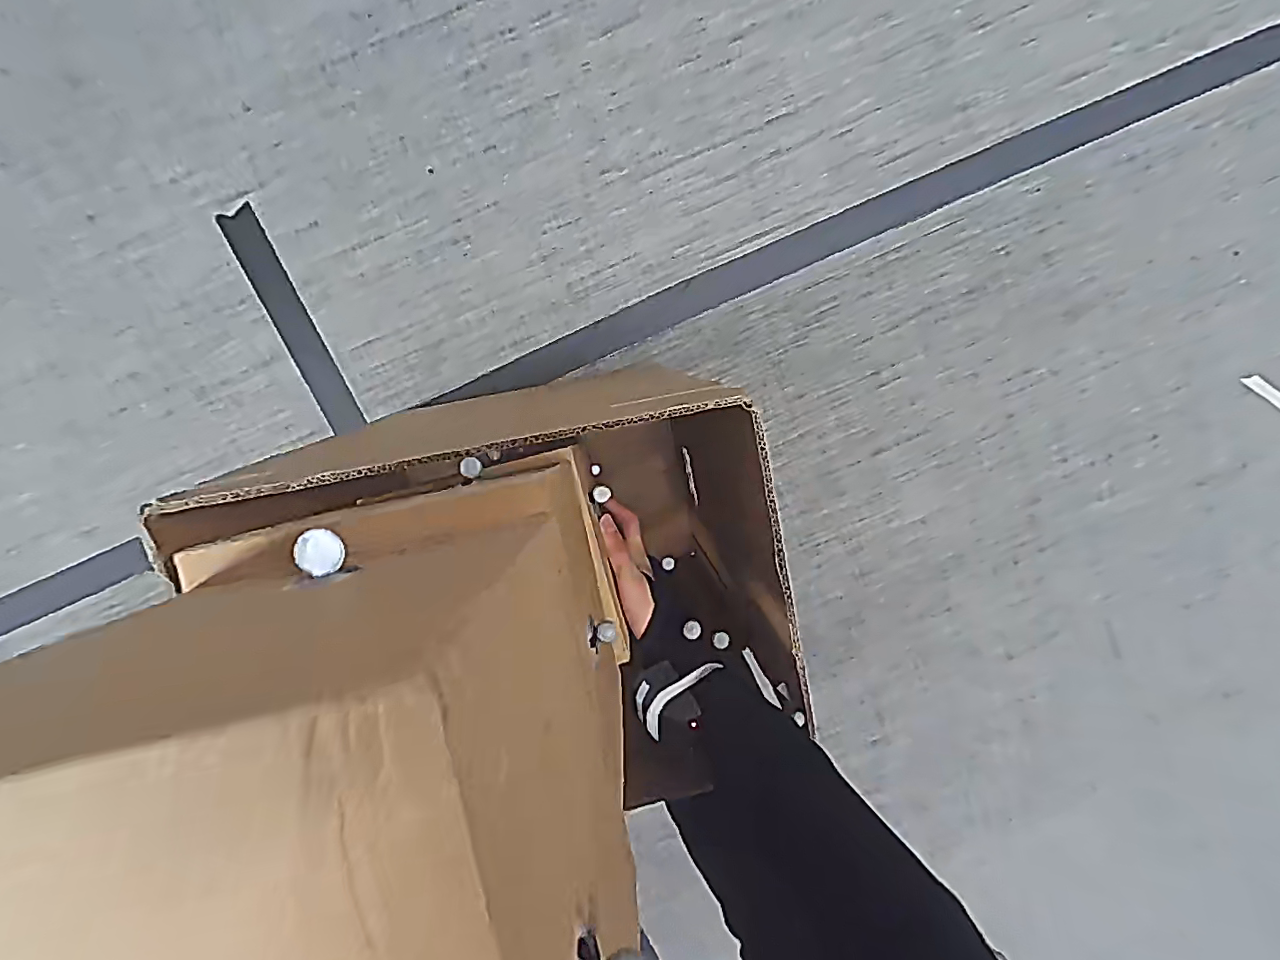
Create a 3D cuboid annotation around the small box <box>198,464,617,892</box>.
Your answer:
[{"bbox_3d":[-0.107,0.092,0.332,0.168,0.176,0.179,-11,95,-2],"label":"small box"}]
